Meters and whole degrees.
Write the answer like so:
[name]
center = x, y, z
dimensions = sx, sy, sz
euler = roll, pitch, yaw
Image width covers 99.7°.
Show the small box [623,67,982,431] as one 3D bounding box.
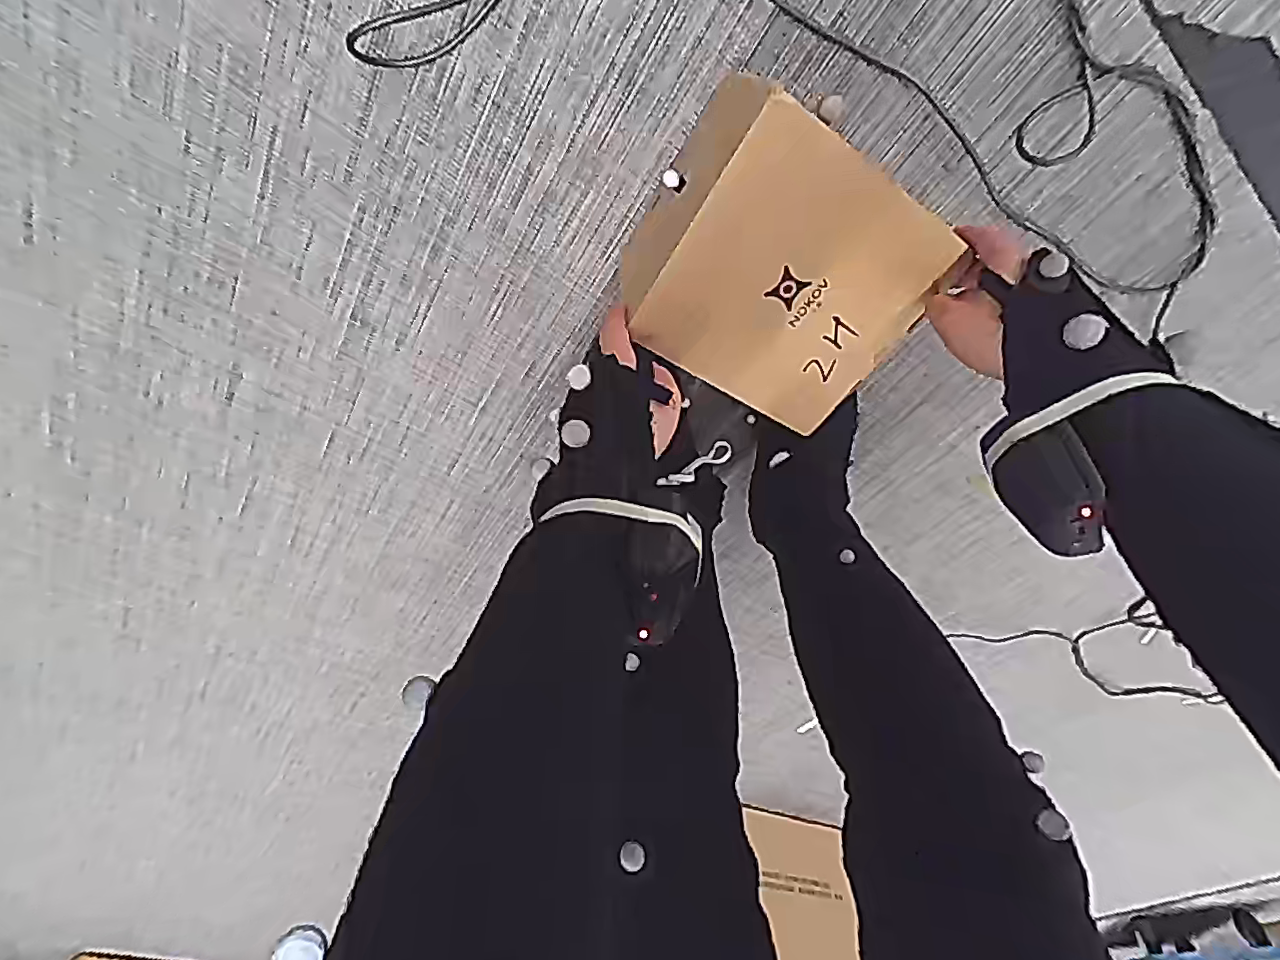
[small box]
center = 0.099, -0.174, 0.415
dimensions = 0.179, 0.176, 0.168
euler = 24, 124, -21
